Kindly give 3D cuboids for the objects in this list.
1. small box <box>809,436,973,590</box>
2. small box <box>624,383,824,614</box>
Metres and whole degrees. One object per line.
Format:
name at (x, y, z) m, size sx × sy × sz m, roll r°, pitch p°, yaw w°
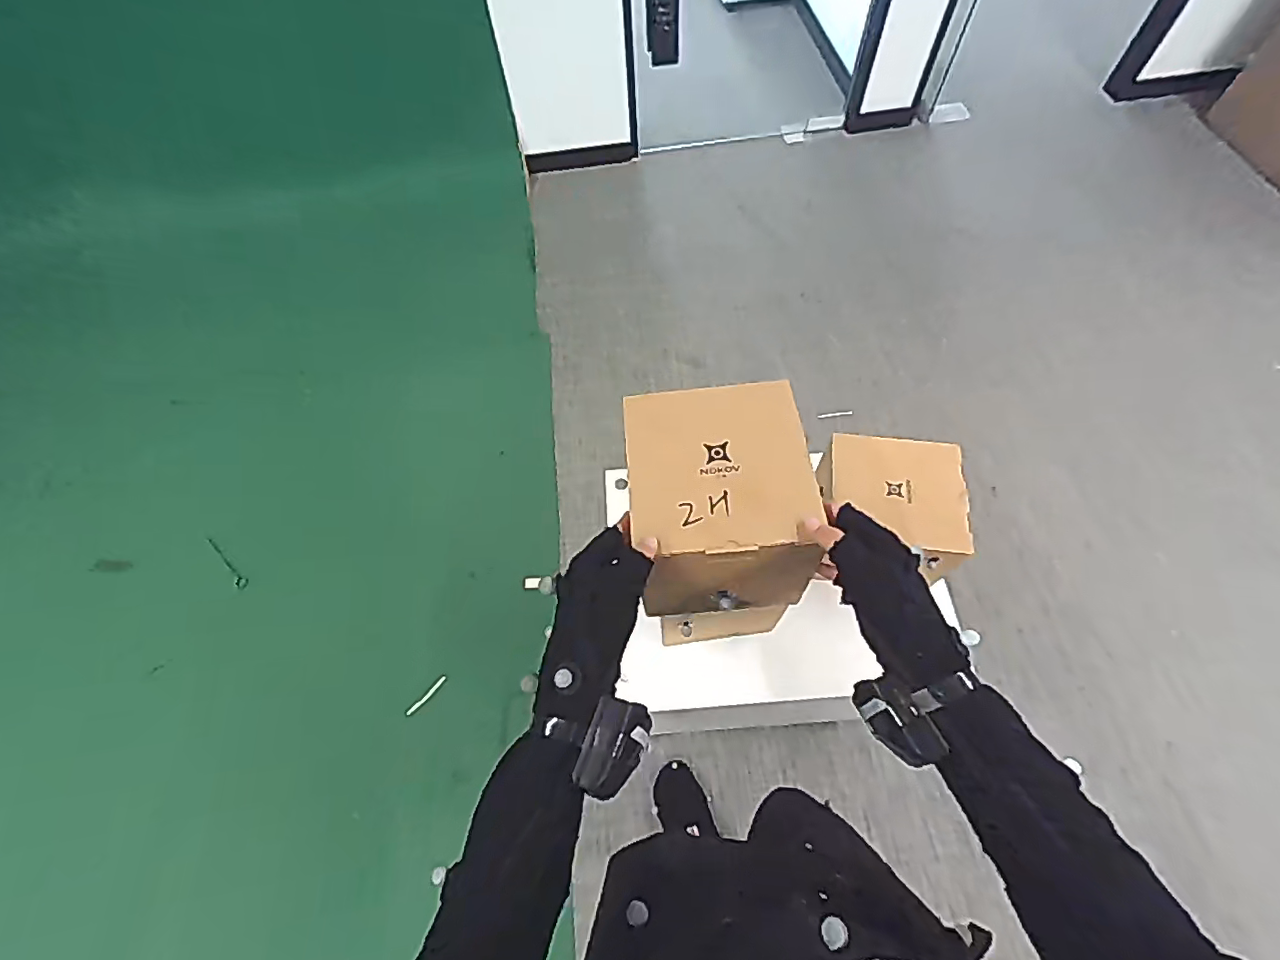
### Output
small box at (0.349, 0.054, 0.792) m, size 0.179 × 0.176 × 0.168 m, roll 6°, pitch 62°, yaw 7°
small box at (0.073, 0.025, 0.559) m, size 0.168 × 0.176 × 0.179 m, roll -5°, pitch 59°, yaw 3°
